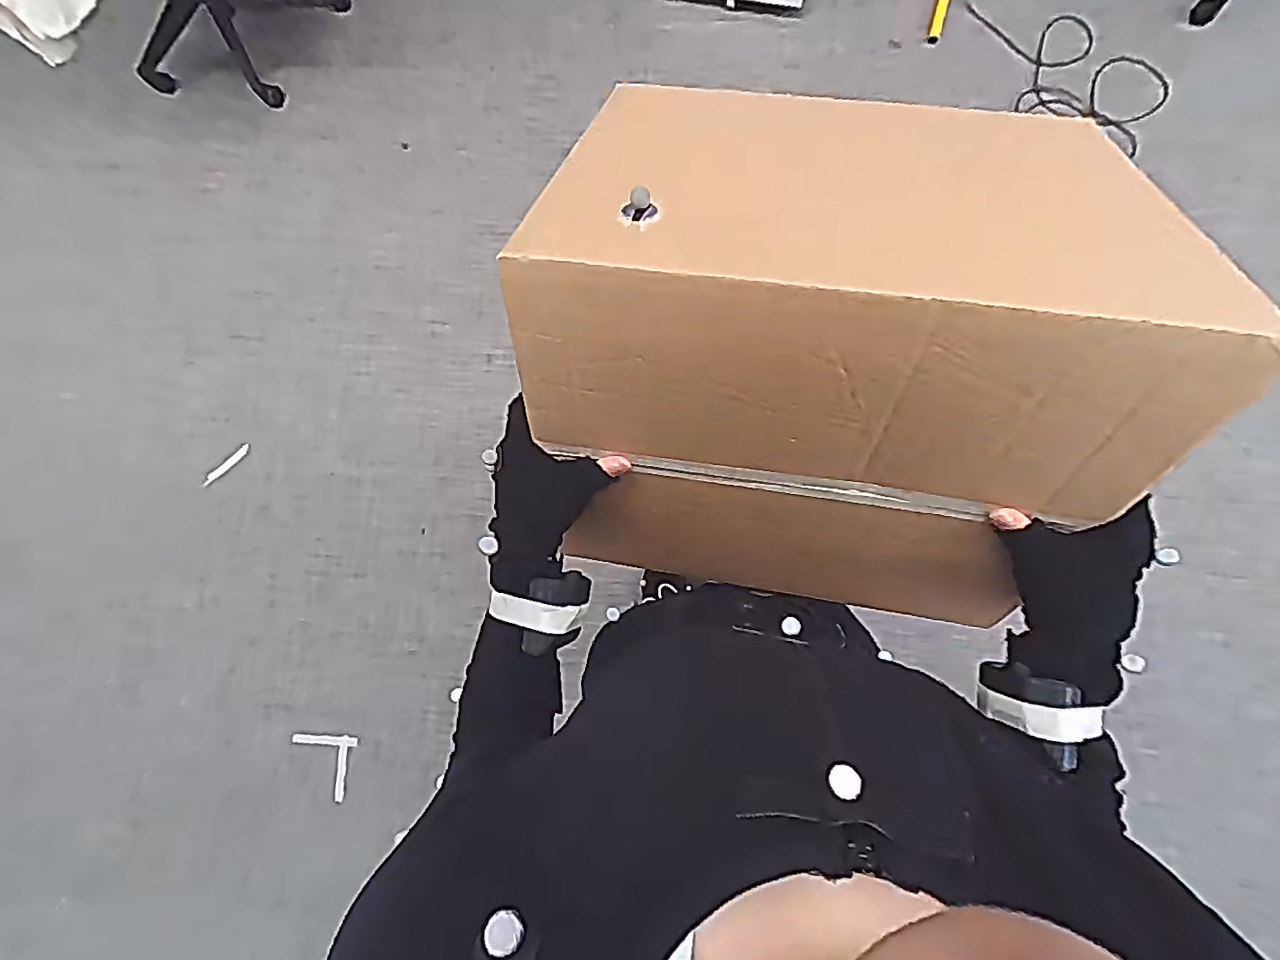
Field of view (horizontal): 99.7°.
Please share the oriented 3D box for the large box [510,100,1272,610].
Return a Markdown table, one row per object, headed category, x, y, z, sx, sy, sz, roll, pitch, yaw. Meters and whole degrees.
| category | x | y | z | sx | sy | sz | roll | pitch | yaw |
| --- | --- | --- | --- | --- | --- | --- | --- | --- | --- |
| large box | 0.144 | -0.118 | 0.497 | 0.408 | 0.320 | 0.320 | 9 | 52 | 6 |
